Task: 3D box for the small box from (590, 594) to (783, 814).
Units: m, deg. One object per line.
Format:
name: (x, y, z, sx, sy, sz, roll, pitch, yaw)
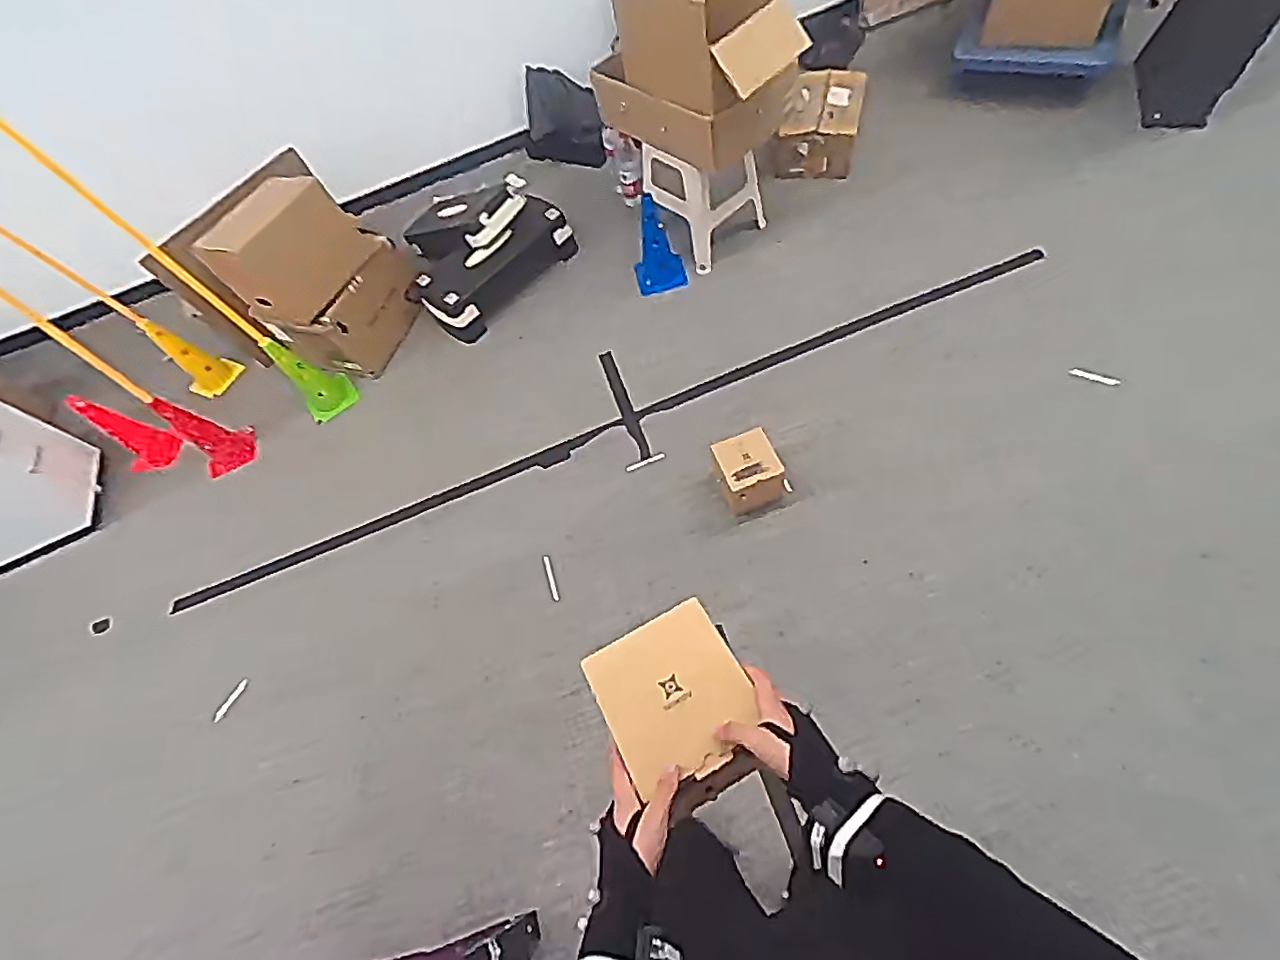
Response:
small box: (0.057, 0.283, 0.679, 0.168, 0.176, 0.179, -27, 52, -10)
